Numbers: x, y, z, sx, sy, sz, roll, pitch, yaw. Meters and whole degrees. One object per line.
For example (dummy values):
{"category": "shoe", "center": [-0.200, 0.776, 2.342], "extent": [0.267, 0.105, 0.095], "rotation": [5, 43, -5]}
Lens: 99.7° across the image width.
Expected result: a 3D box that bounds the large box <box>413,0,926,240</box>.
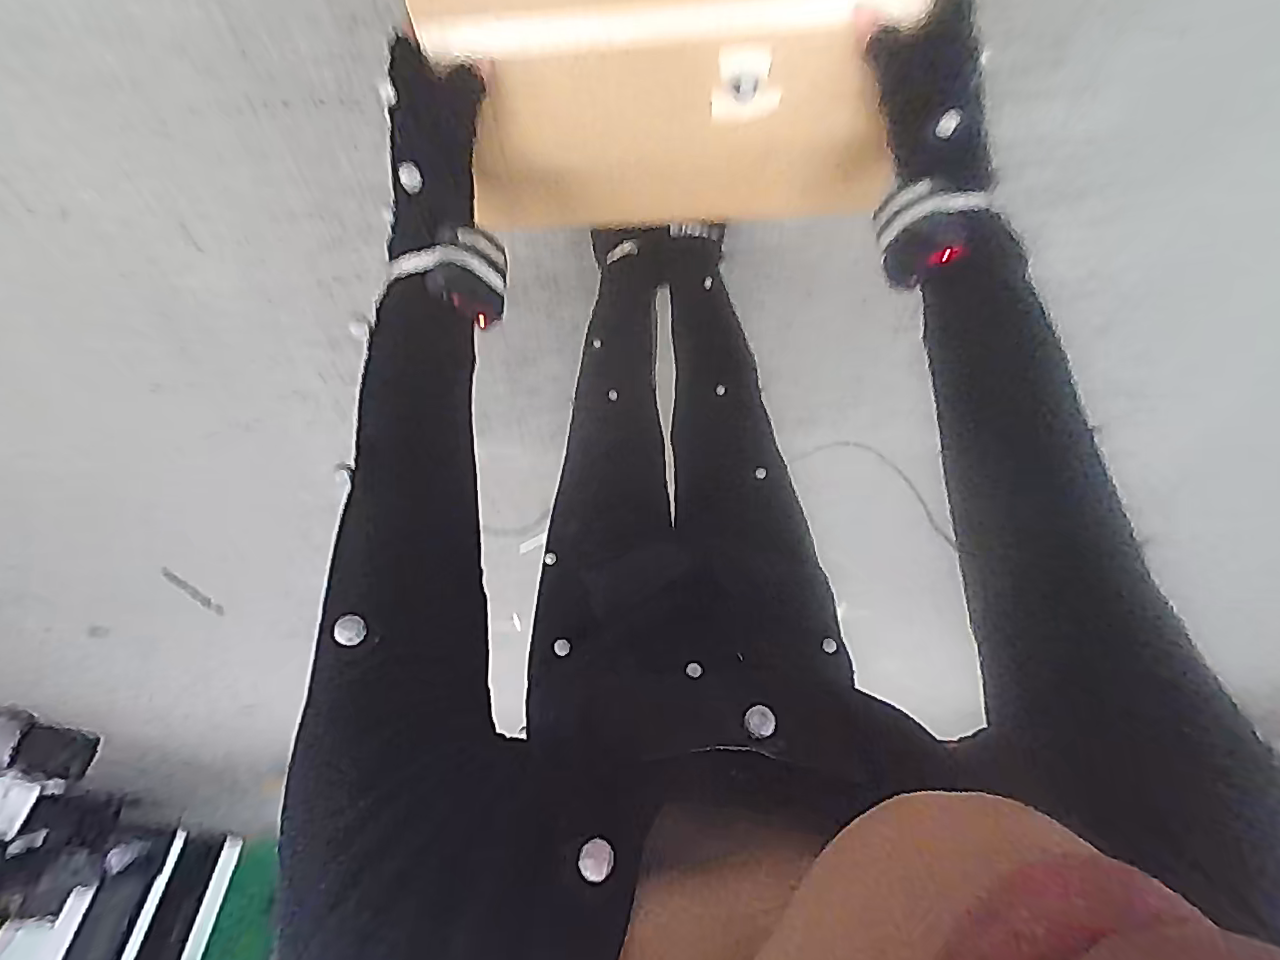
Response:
{"category": "large box", "center": [0.026, -0.466, 0.534], "extent": [0.408, 0.320, 0.320], "rotation": [-1, 137, 5]}
